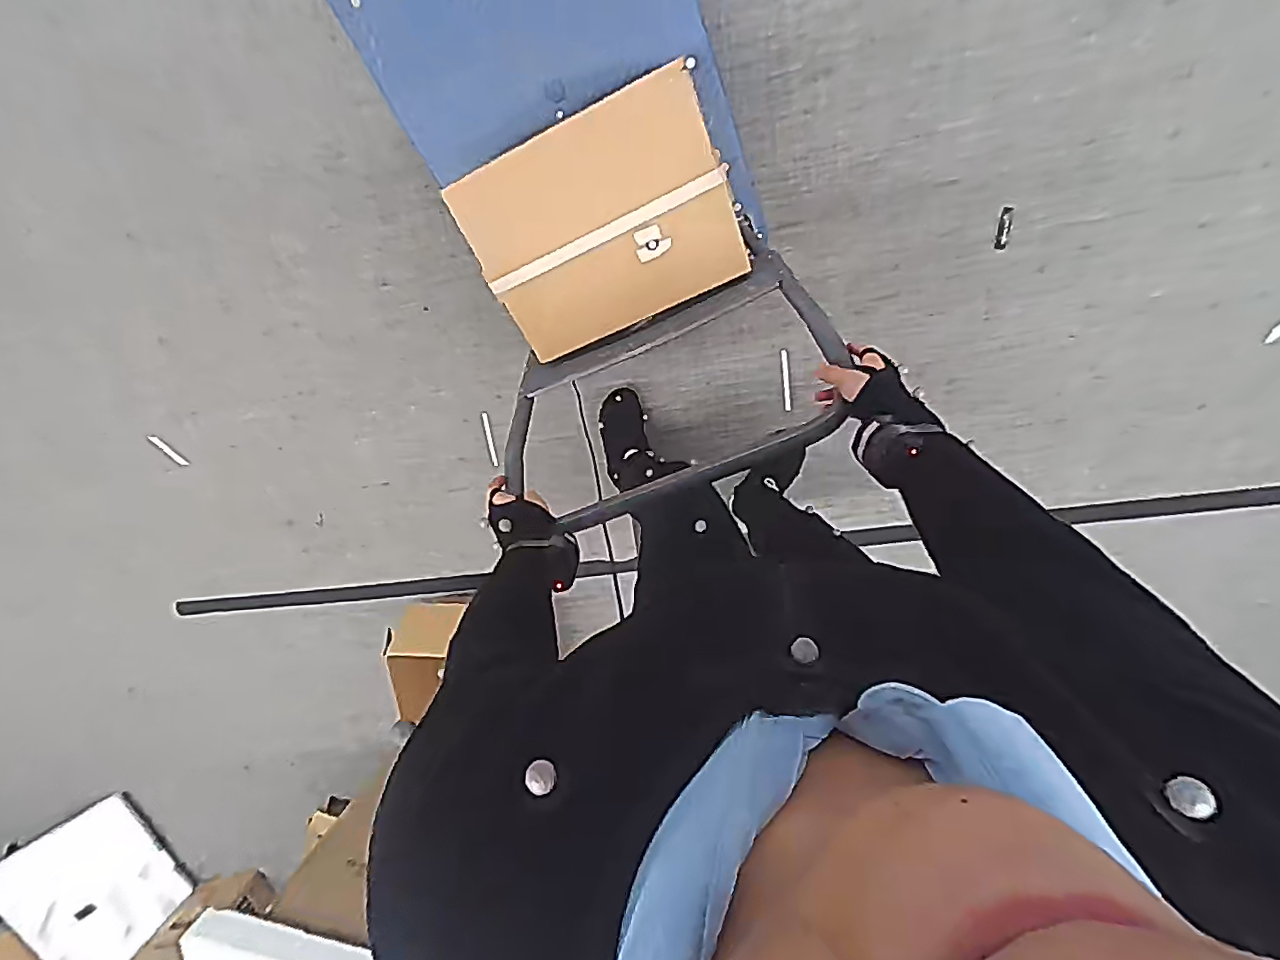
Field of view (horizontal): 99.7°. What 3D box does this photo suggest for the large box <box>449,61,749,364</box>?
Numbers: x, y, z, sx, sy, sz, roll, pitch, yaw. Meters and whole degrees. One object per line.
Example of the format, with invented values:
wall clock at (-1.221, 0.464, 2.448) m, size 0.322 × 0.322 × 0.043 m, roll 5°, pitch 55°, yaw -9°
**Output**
large box at (-0.064, -0.480, 0.993) m, size 0.408 × 0.320 × 0.320 m, roll -22°, pitch 124°, yaw 12°
